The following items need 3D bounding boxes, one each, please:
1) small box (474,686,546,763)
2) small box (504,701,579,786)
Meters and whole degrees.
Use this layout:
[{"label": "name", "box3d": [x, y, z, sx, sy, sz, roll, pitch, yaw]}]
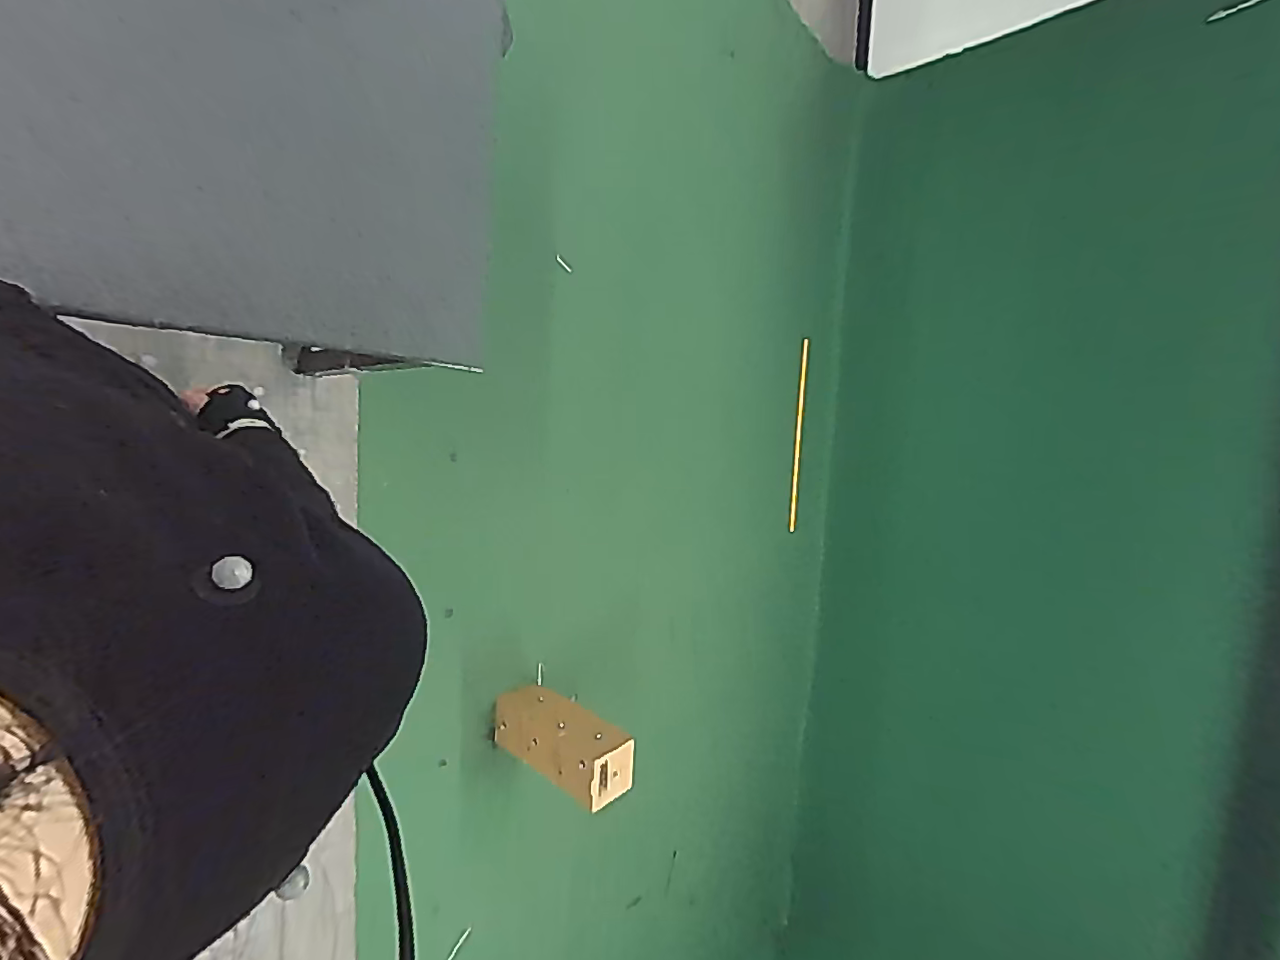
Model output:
[{"label": "small box", "box3d": [-0.453, 0.843, 1.885, 0.179, 0.176, 0.168, -1, 96, -51]}, {"label": "small box", "box3d": [-0.326, 0.860, 1.786, 0.179, 0.176, 0.168, -3, 98, -51]}]
